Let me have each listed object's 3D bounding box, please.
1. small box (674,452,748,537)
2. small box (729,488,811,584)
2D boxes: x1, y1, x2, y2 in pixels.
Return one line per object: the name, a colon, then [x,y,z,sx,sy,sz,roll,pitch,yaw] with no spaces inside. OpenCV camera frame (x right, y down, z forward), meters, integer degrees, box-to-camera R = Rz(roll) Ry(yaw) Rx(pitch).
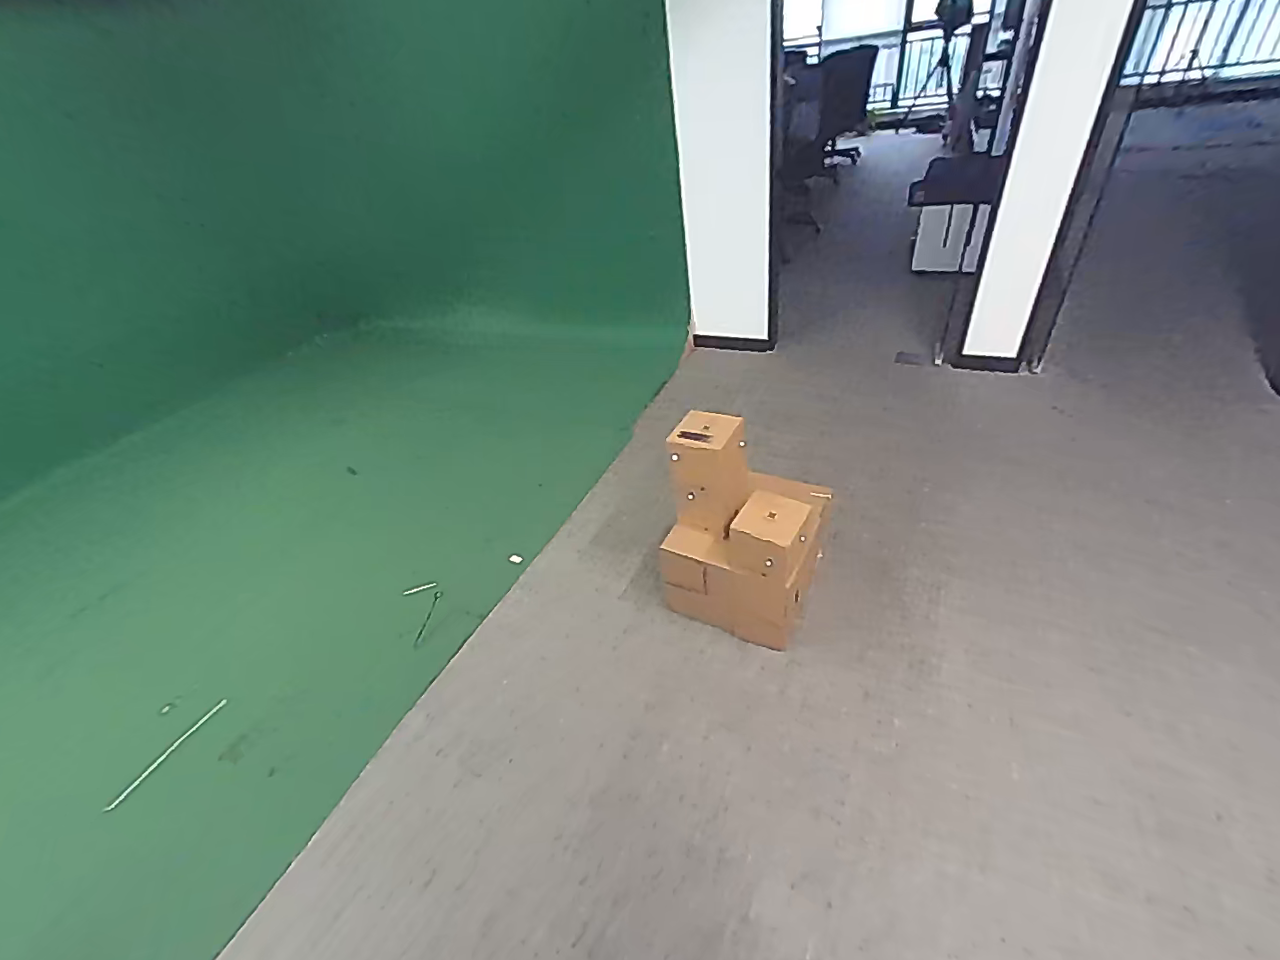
small box: [0.221,0.044,1.672,0.168,0.176,0.179,16,44,30]
small box: [0.361,0.157,1.500,0.168,0.176,0.179,19,45,29]
